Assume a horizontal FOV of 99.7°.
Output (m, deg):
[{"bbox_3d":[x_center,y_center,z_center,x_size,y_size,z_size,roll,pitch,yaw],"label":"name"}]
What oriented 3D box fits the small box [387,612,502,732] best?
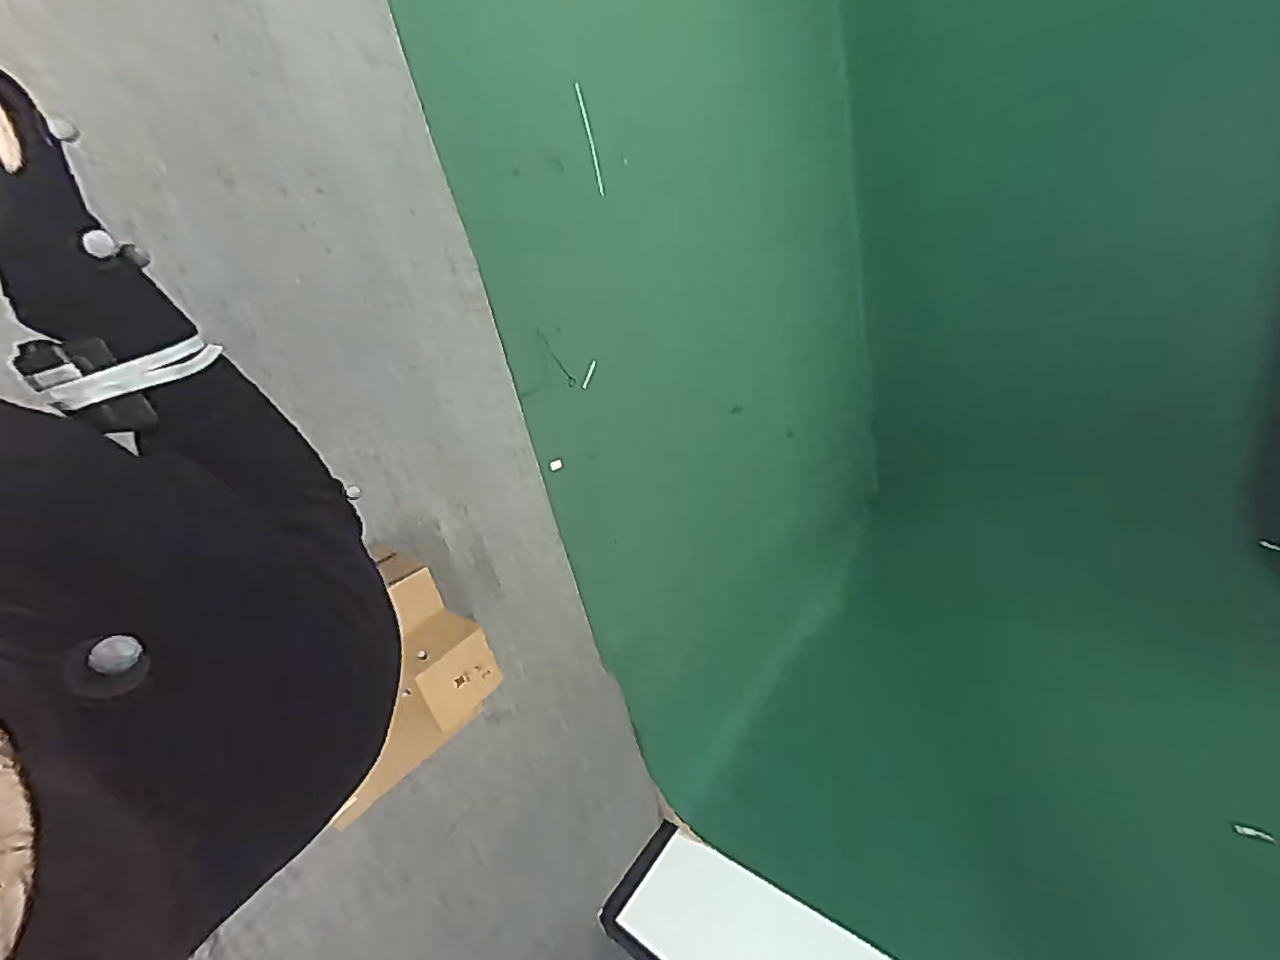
[{"bbox_3d":[-0.459,0.436,1.254,0.179,0.176,0.168,-35,121,-41],"label":"small box"}]
